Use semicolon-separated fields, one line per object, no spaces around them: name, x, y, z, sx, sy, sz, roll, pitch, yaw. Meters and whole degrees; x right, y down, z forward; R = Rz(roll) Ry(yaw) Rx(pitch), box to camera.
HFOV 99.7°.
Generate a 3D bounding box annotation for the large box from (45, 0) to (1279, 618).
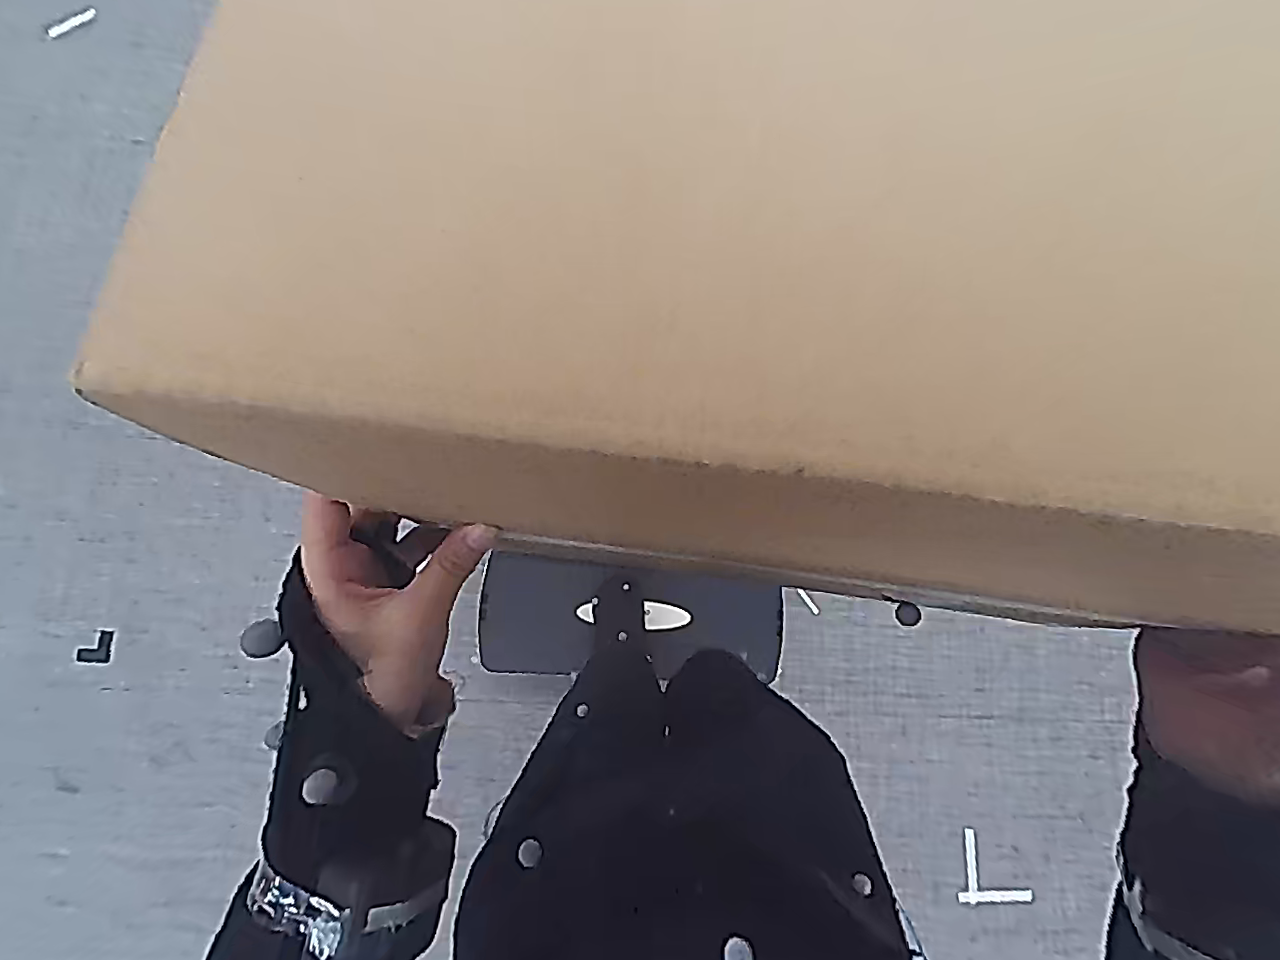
large box;0.083;-0.113;0.280;0.408;0.320;0.320;6;79;3
